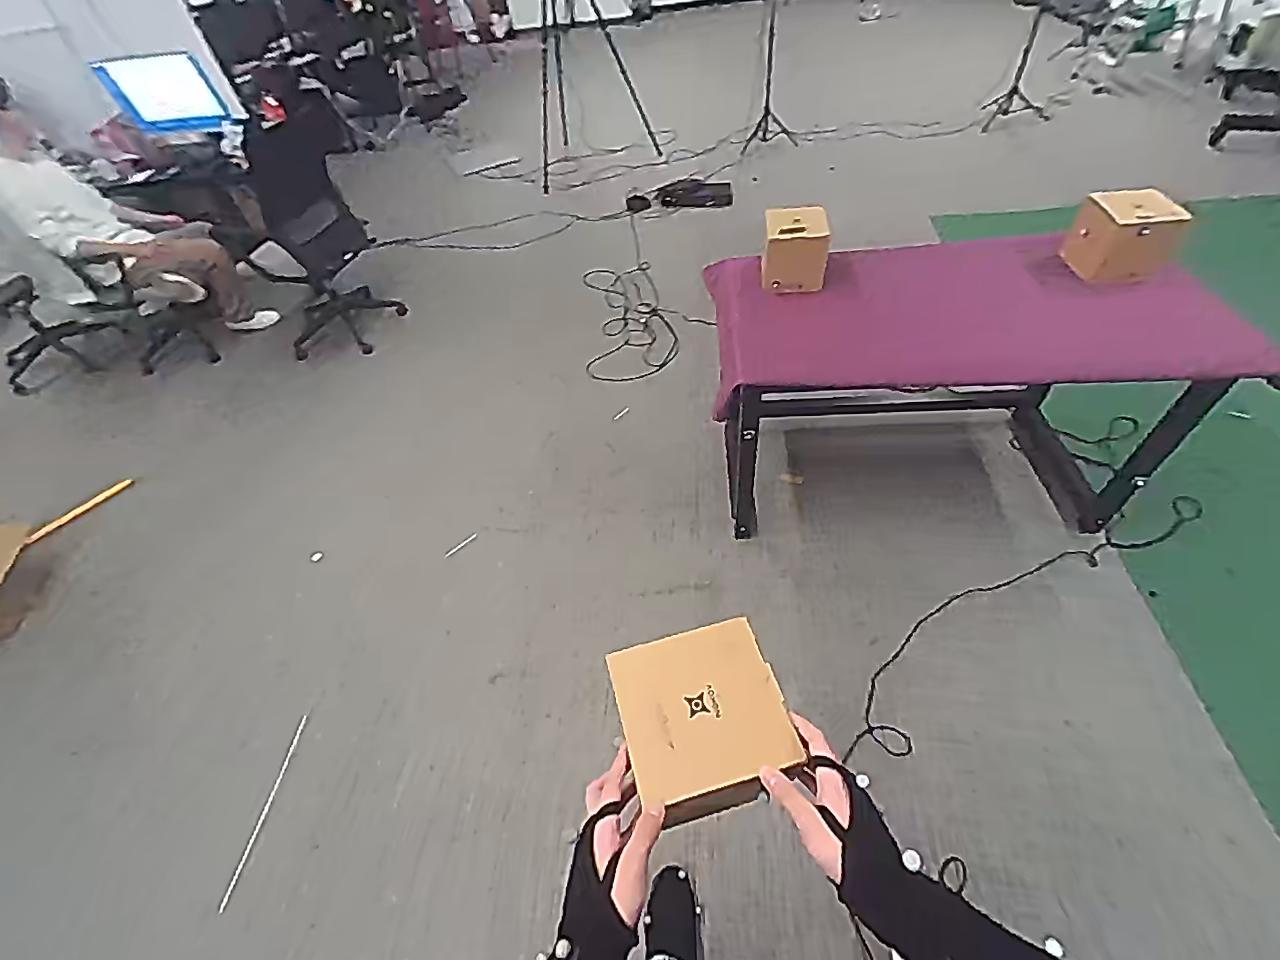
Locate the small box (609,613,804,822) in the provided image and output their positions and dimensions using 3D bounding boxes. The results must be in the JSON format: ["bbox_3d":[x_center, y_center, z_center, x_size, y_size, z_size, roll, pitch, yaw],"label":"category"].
[{"bbox_3d":[0.069,0.286,0.646,0.179,0.176,0.168,-13,51,-6],"label":"small box"}]

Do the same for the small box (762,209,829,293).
[{"bbox_3d":[0.447,-0.661,1.574,0.168,0.176,0.179,1,51,8],"label":"small box"}]

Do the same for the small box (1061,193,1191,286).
[{"bbox_3d":[1.276,-0.639,1.440,0.168,0.176,0.179,-2,49,7],"label":"small box"}]
